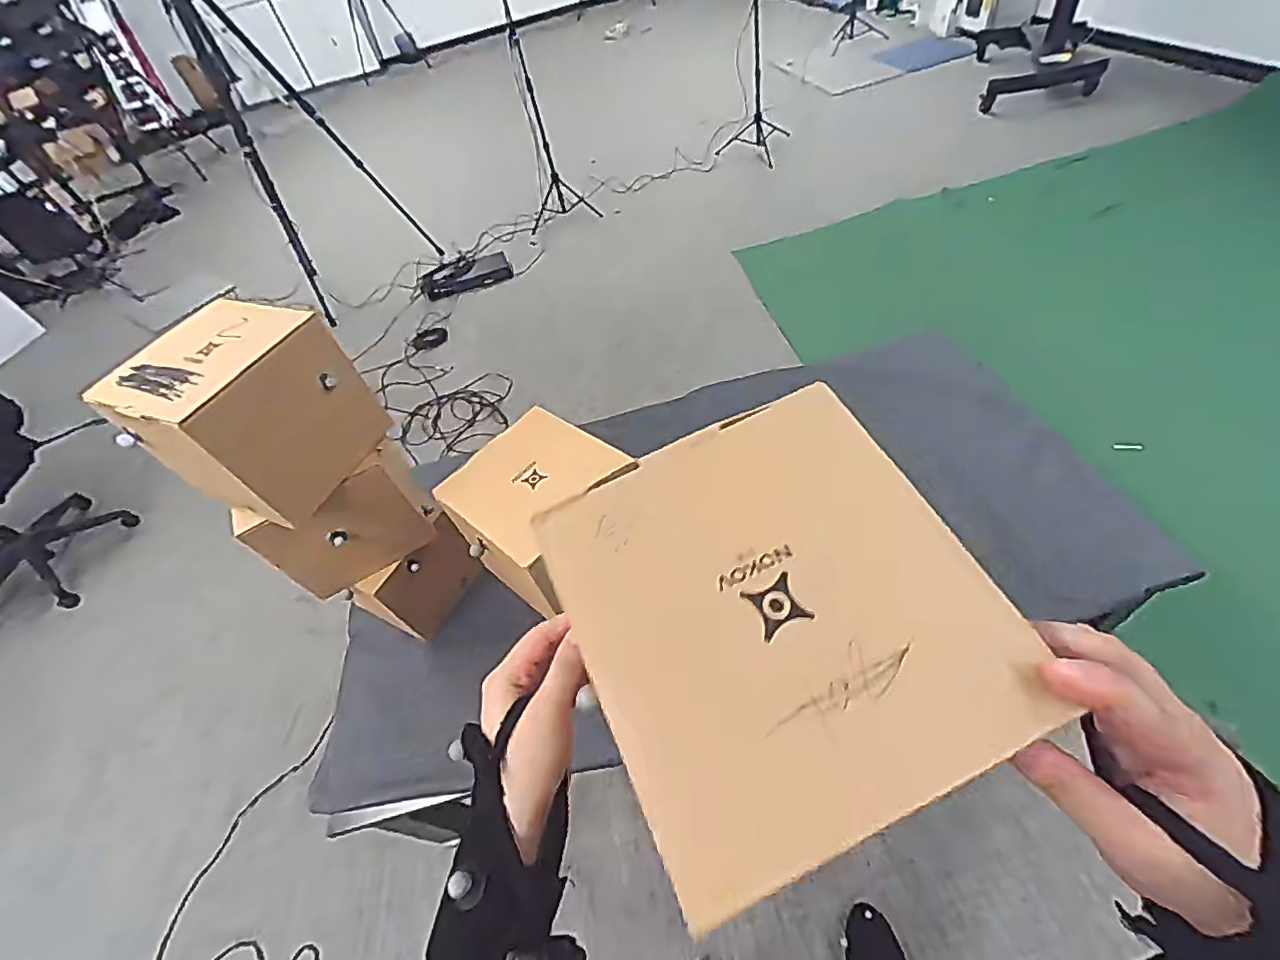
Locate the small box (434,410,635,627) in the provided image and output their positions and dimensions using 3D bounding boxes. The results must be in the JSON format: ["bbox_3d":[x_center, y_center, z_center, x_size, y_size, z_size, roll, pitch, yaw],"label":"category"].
[{"bbox_3d":[-0.103,0.052,0.654,0.179,0.176,0.168,29,63,32],"label":"small box"}]

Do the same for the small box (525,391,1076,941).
[{"bbox_3d":[0.060,0.091,0.297,0.168,0.176,0.179,-26,64,-5],"label":"small box"}]

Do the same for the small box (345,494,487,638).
[{"bbox_3d":[-0.384,0.129,0.873,0.179,0.176,0.168,16,57,25],"label":"small box"}]

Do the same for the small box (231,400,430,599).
[{"bbox_3d":[-0.413,0.029,0.745,0.179,0.176,0.168,-31,52,-12],"label":"small box"}]
